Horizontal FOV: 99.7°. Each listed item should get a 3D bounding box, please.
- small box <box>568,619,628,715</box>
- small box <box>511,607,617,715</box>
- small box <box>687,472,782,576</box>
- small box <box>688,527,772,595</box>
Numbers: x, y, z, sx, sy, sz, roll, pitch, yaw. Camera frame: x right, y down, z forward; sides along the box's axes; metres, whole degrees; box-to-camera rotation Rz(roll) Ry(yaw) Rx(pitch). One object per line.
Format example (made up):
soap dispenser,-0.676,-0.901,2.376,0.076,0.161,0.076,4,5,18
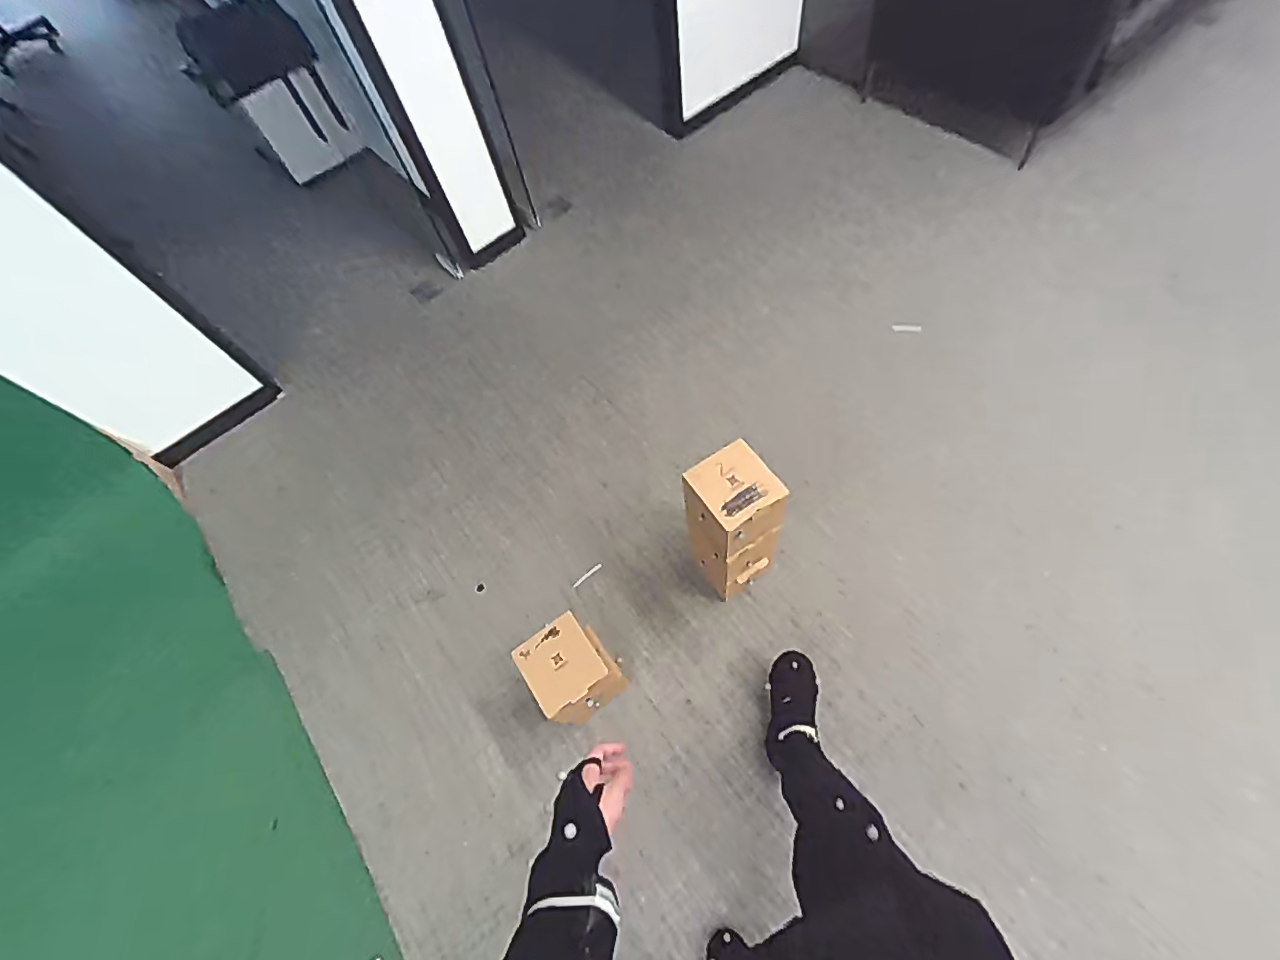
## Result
small box,-0.150,0.499,1.426,0.179,0.176,0.168,-34,64,-10
small box,-0.171,0.431,1.278,0.168,0.176,0.179,-34,65,-10
small box,0.235,0.118,1.384,0.168,0.176,0.179,-33,64,-10
small box,0.251,0.197,1.523,0.168,0.176,0.179,-29,64,-5
